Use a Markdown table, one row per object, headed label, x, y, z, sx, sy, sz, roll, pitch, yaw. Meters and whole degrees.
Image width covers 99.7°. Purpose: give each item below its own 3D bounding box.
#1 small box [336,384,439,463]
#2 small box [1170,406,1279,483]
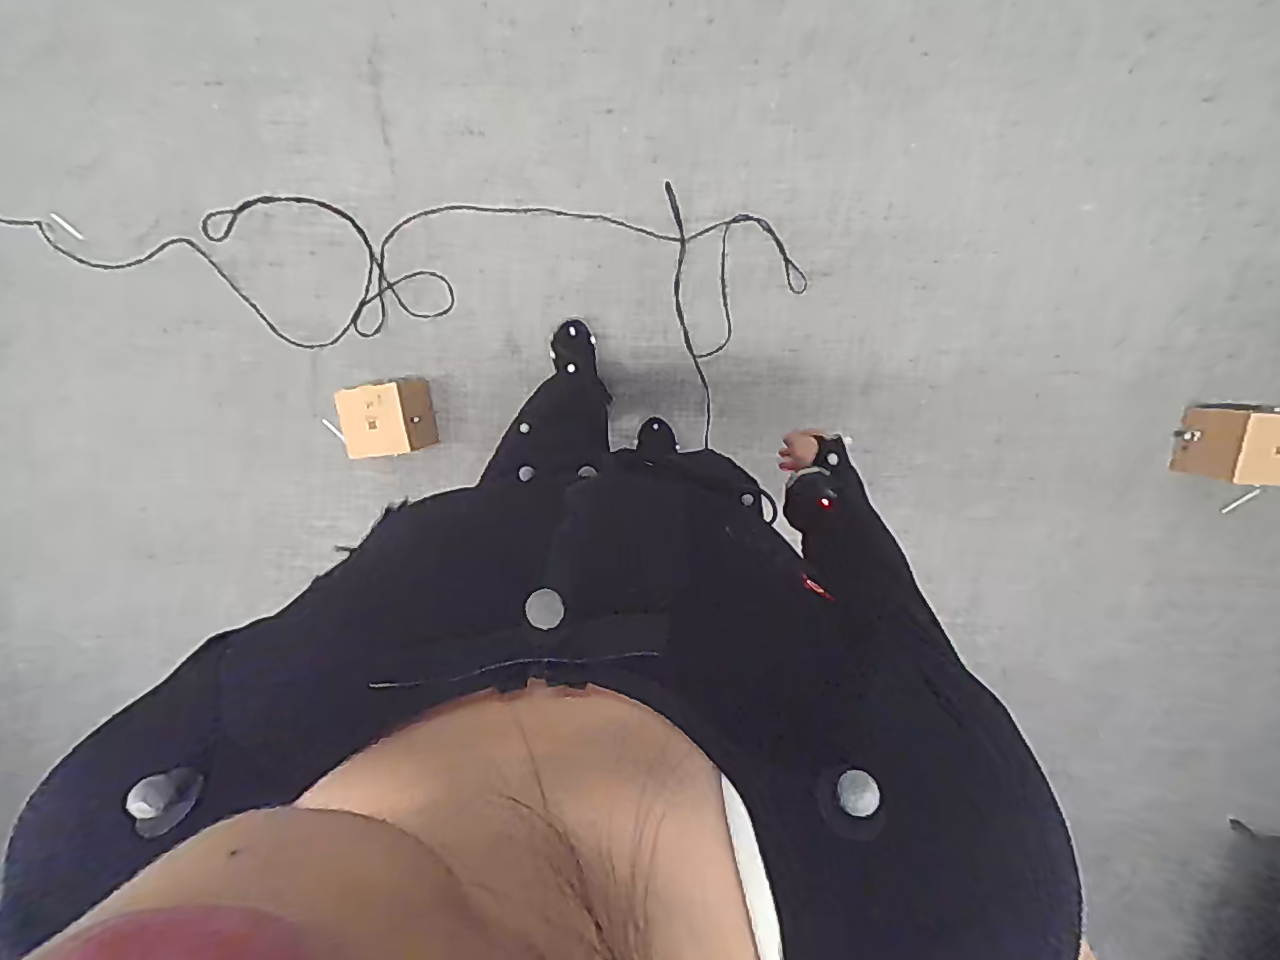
| label | x | y | z | sx | sy | sz | roll | pitch | yaw |
| --- | --- | --- | --- | --- | --- | --- | --- | --- | --- |
| small box | -0.645 | -0.151 | 1.404 | 0.168 | 0.176 | 0.179 | -7 | 101 | 5 |
| small box | 1.462 | -0.091 | 1.309 | 0.179 | 0.176 | 0.168 | 2 | 101 | 4 |
